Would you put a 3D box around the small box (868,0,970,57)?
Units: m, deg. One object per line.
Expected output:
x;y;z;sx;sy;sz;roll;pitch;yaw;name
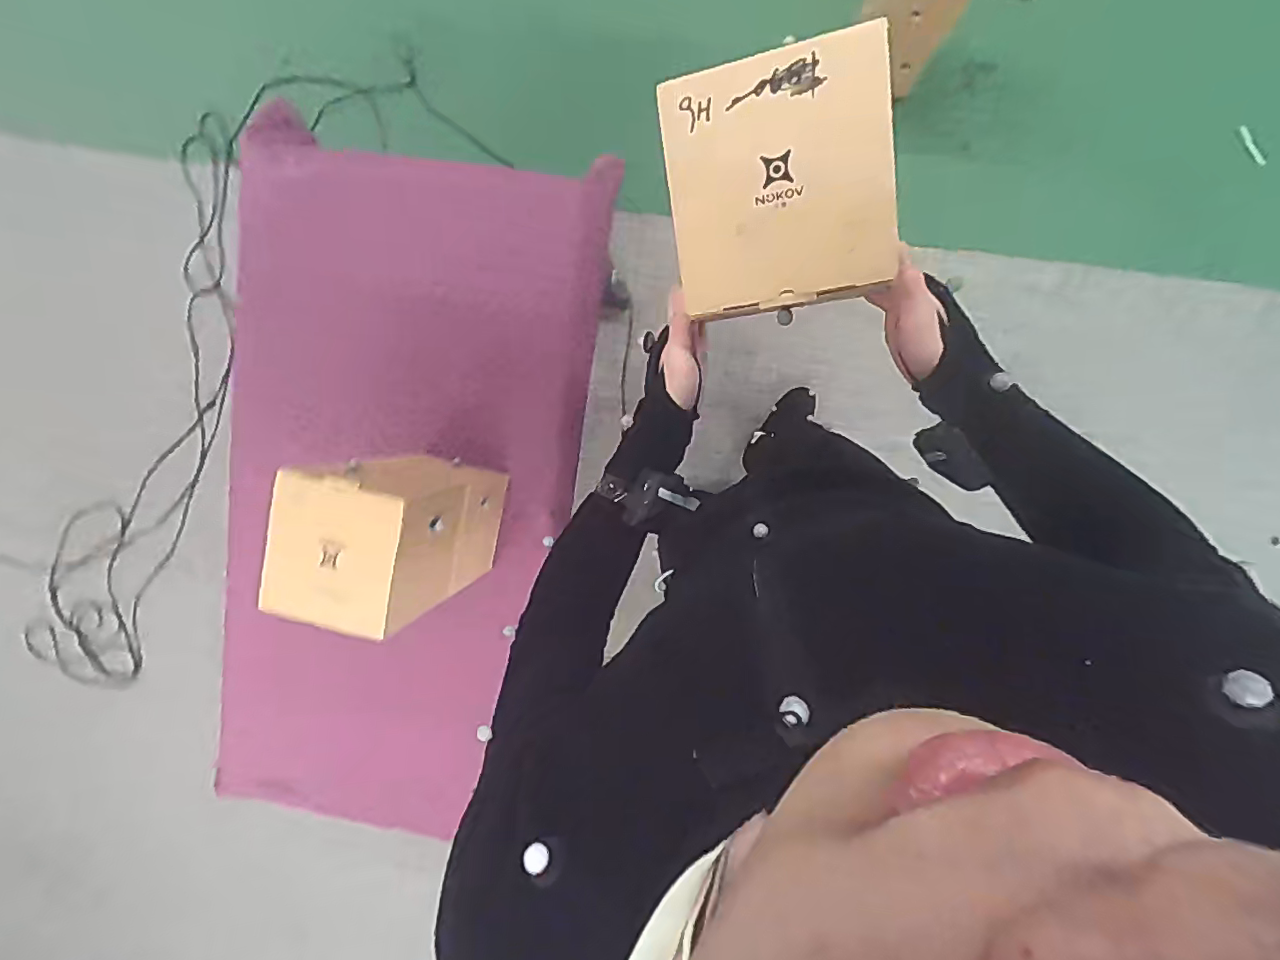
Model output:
0.626;-1.092;1.215;0.179;0.176;0.168;7;97;7;small box

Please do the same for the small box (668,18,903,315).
0.129;-0.249;0.484;0.168;0.176;0.179;-5;104;15;small box

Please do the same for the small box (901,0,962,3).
0.603;-1.079;1.053;0.179;0.176;0.168;5;97;6;small box

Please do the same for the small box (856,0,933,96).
0.637;-1.107;1.376;0.179;0.176;0.168;9;96;6;small box

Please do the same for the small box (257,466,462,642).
-0.352;0.082;0.710;0.168;0.176;0.179;13;97;6;small box
